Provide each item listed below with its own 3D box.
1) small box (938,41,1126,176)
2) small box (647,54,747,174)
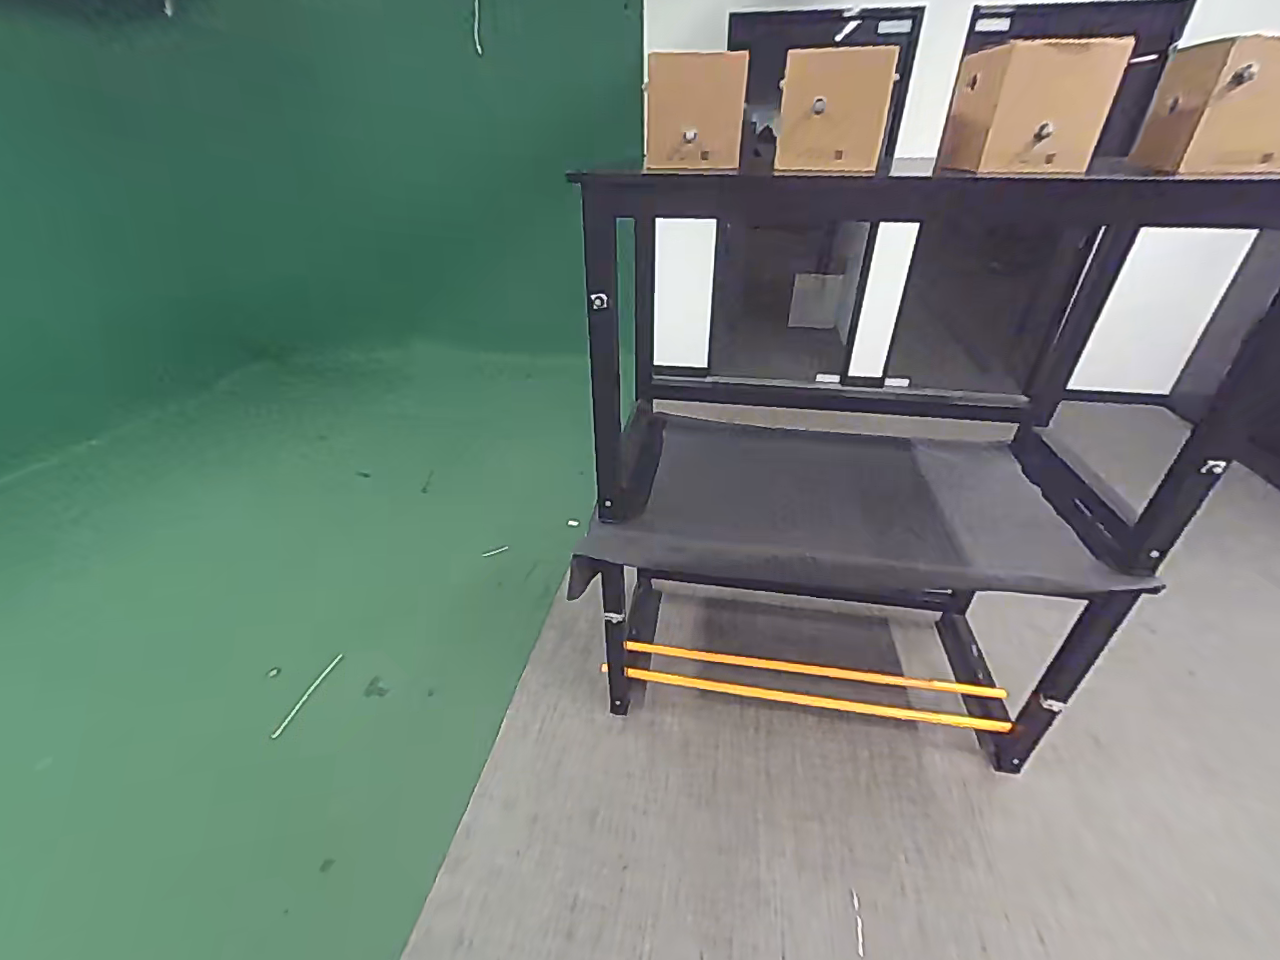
[{"bbox_3d":[0.623,-0.605,0.892,0.168,0.176,0.179,2,33,5],"label":"small box"},{"bbox_3d":[0.099,-0.668,0.997,0.168,0.176,0.179,2,33,3],"label":"small box"}]
